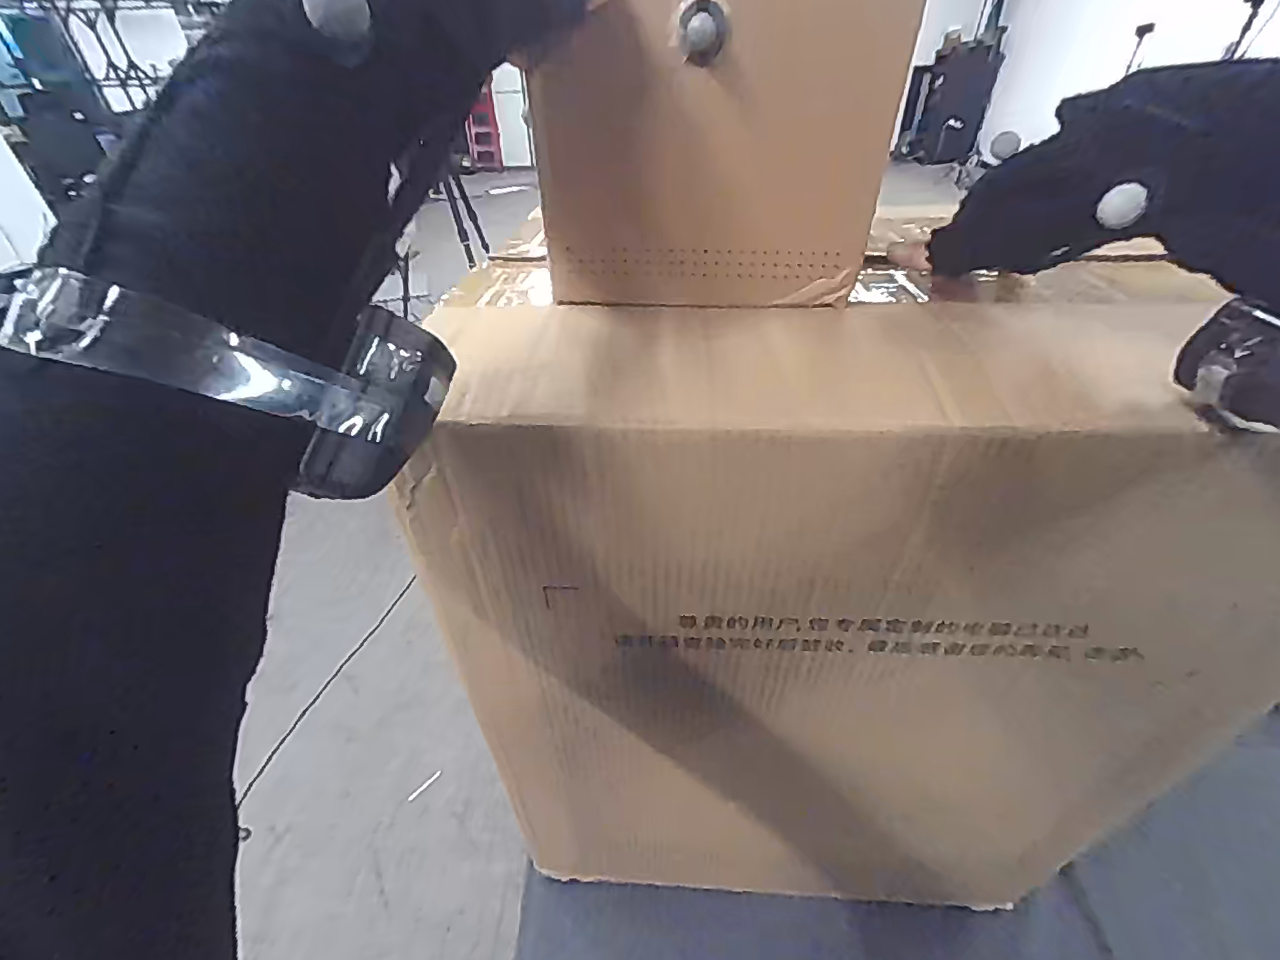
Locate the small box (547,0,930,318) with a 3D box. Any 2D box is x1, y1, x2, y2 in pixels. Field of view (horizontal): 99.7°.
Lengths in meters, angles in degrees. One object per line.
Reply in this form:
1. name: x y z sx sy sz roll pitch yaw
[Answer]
1. small box: 0.050 -0.212 0.332 0.179 0.176 0.168 4 42 4
